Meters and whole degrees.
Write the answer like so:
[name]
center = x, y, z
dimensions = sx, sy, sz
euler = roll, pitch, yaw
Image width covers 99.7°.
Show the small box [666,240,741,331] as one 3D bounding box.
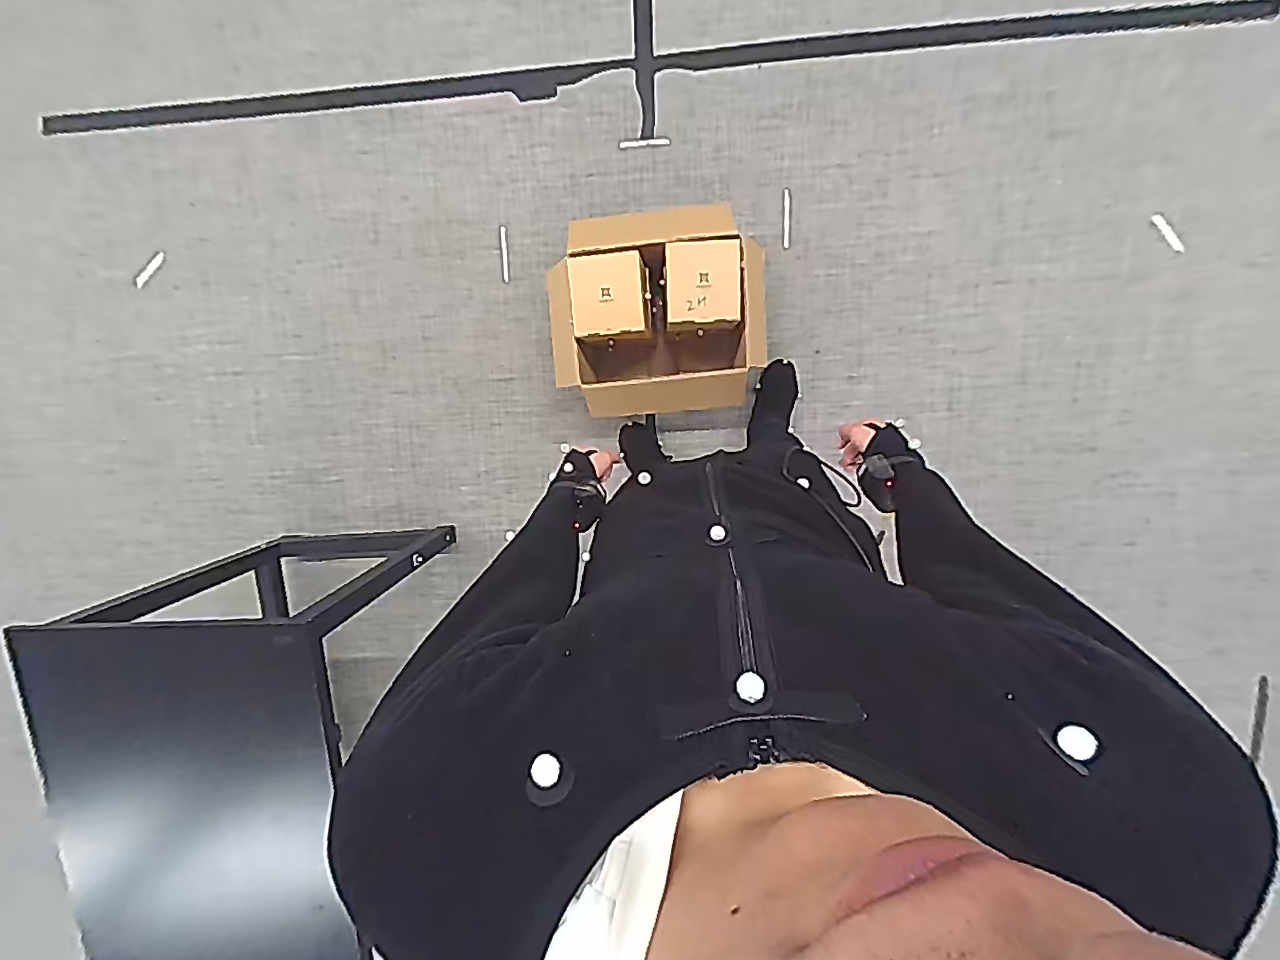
[small box]
center = 0.144, -0.452, 1.275
dimensions = 0.168, 0.176, 0.179
euler = -1, 99, 4
